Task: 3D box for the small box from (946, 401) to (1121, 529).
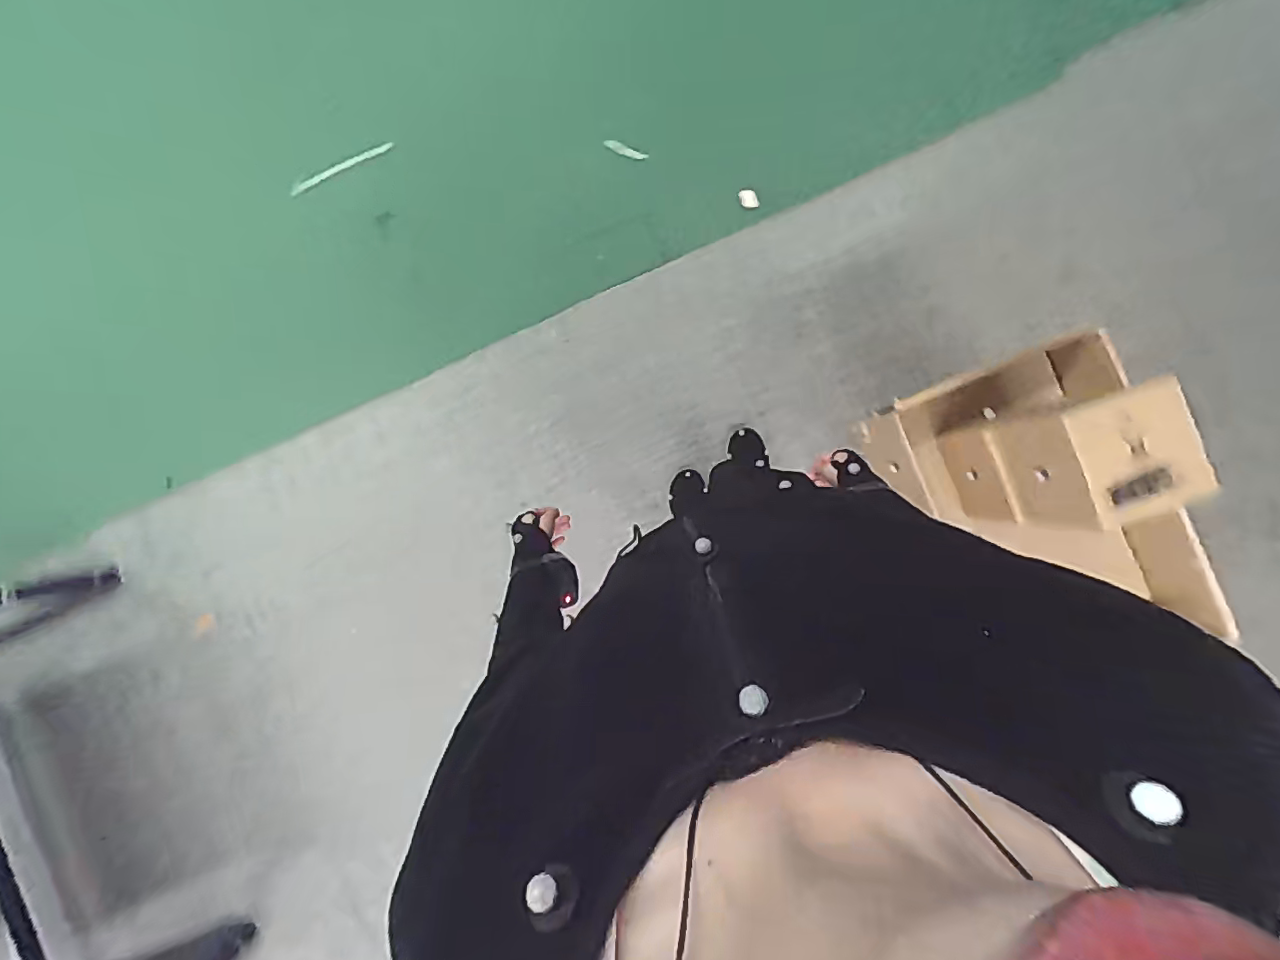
[{"bbox_3d":[0.697,-0.026,0.979,0.168,0.176,0.179,-21,89,3],"label":"small box"}]
